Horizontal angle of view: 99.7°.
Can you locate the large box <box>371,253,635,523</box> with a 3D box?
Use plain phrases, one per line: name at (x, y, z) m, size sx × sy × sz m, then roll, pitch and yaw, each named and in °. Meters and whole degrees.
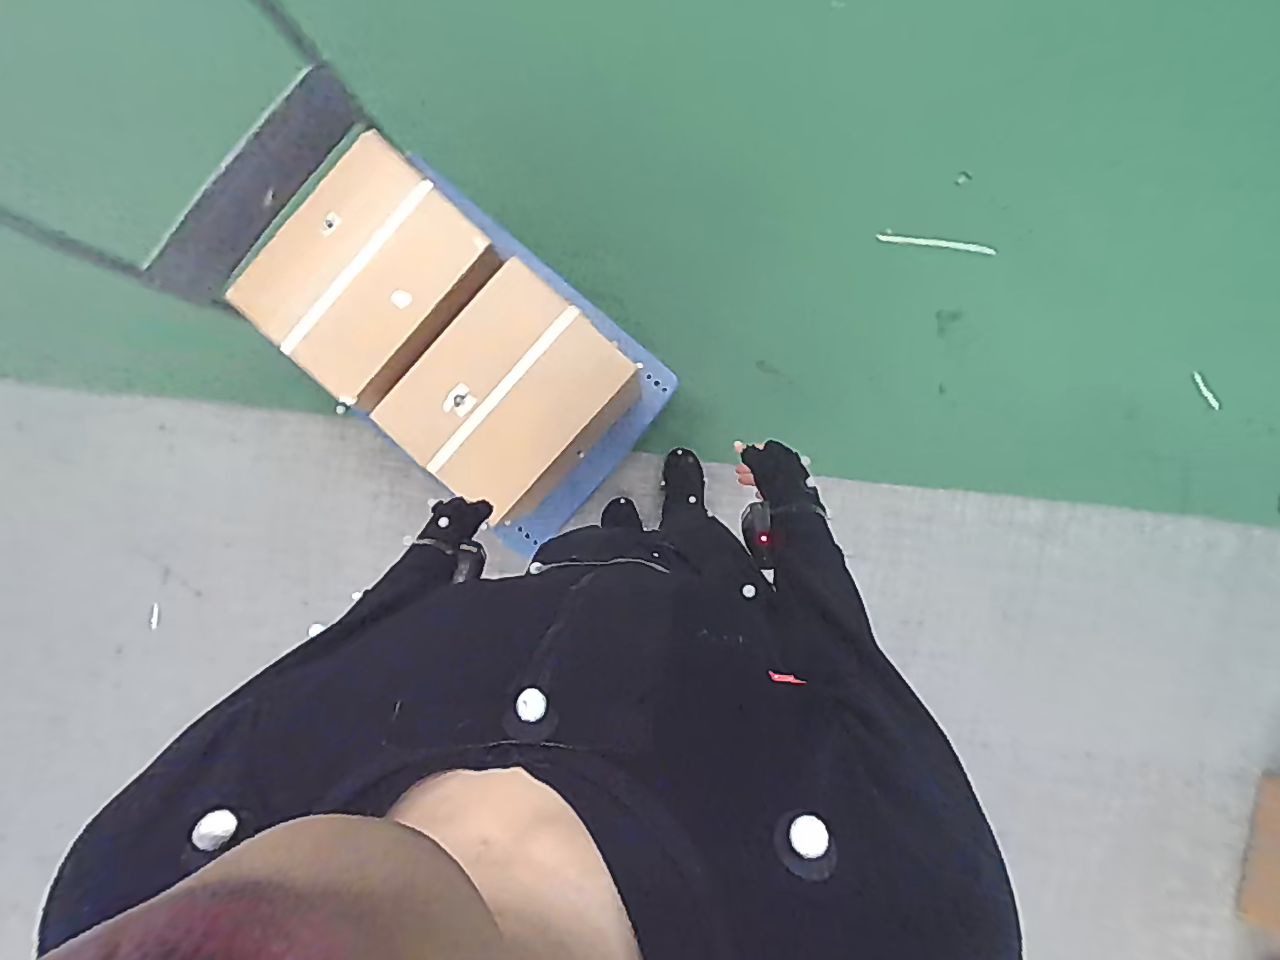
large box at (-0.253, -0.174, 1.136) m, size 0.320 × 0.320 × 0.408 m, roll 42°, pitch 93°, yaw 0°
